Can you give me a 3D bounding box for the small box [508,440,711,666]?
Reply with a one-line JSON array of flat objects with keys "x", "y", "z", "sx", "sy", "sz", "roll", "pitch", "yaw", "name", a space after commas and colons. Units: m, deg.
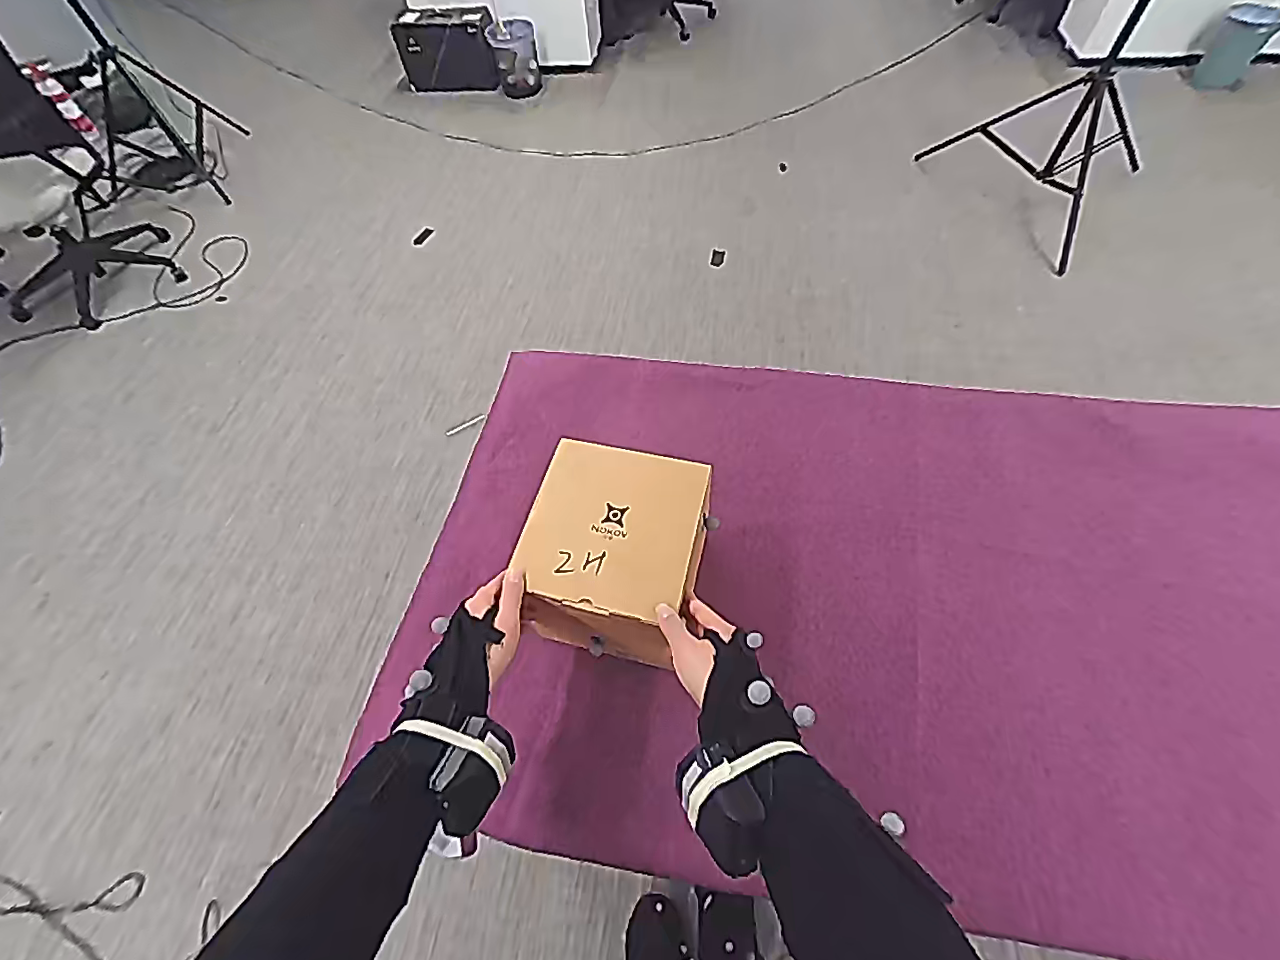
[{"x": -0.022, "y": 0.085, "z": 0.600, "sx": 0.168, "sy": 0.176, "sz": 0.179, "roll": 11, "pitch": 59, "yaw": 11, "name": "small box"}]
